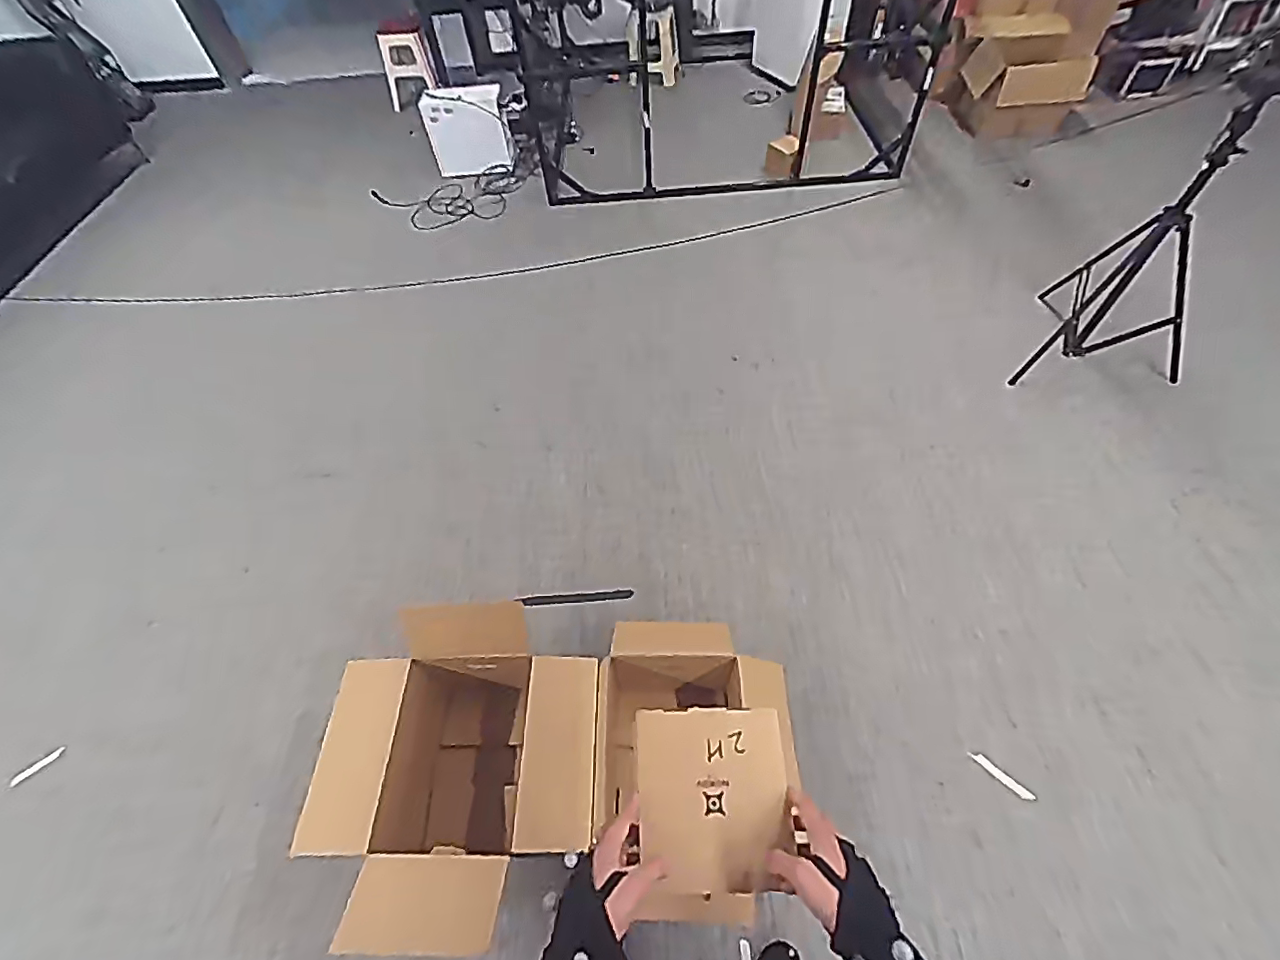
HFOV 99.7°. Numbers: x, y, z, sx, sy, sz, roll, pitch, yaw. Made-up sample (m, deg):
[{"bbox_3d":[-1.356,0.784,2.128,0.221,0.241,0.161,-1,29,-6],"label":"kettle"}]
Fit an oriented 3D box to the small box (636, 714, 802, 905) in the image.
[{"bbox_3d":[0.081,0.387,0.651,0.168,0.176,0.179,0,59,-2],"label":"small box"}]
